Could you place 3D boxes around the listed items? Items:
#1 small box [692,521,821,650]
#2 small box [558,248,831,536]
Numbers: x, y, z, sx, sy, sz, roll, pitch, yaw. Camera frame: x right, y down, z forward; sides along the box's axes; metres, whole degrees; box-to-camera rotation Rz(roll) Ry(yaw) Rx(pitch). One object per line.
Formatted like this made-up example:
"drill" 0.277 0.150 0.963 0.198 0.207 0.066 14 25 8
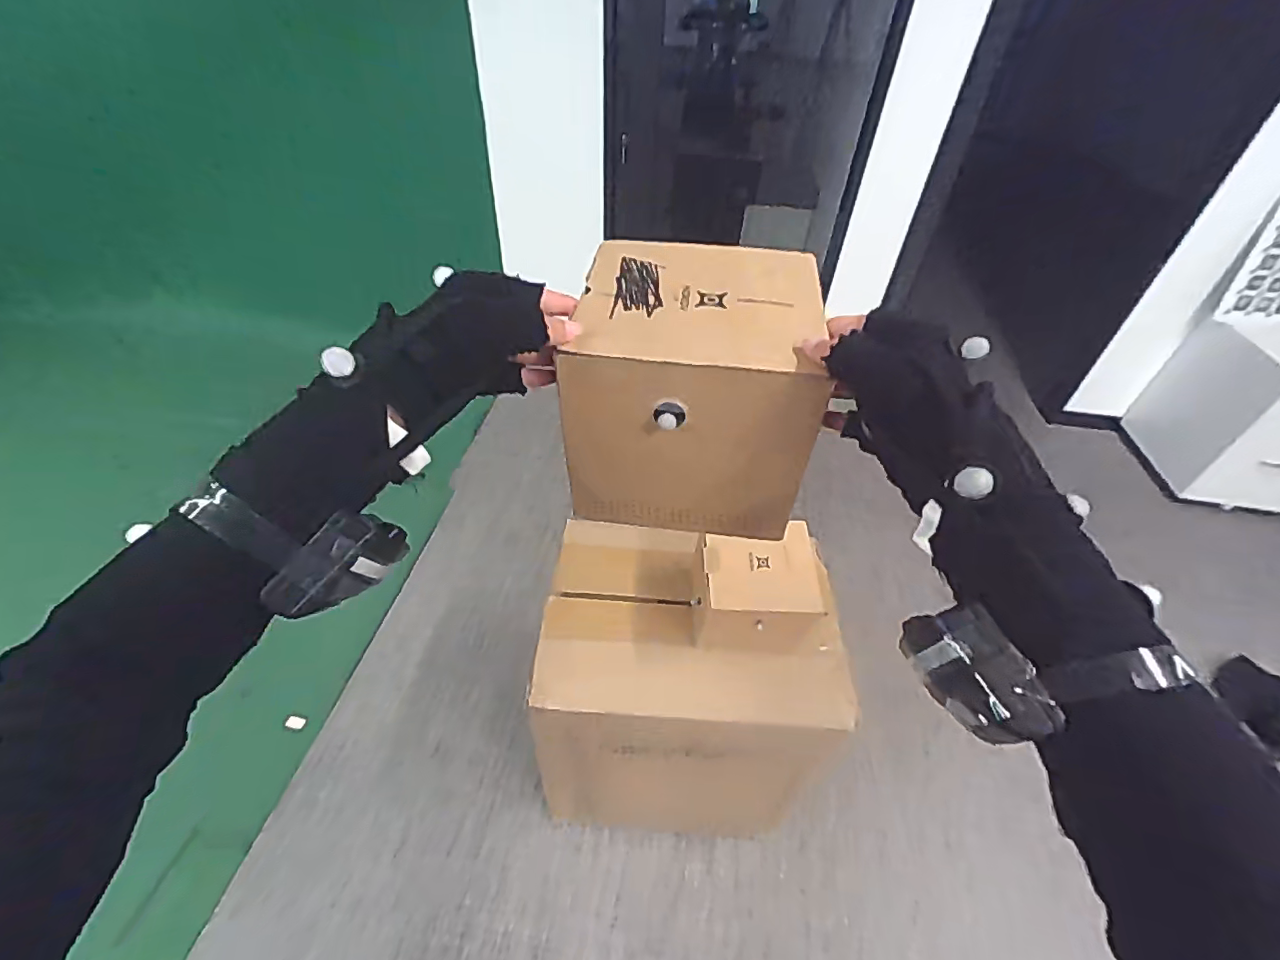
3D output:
"small box" 0.184 0.181 0.922 0.179 0.176 0.168 3 53 -3
"small box" 0.042 -0.070 0.449 0.179 0.176 0.168 7 47 4
